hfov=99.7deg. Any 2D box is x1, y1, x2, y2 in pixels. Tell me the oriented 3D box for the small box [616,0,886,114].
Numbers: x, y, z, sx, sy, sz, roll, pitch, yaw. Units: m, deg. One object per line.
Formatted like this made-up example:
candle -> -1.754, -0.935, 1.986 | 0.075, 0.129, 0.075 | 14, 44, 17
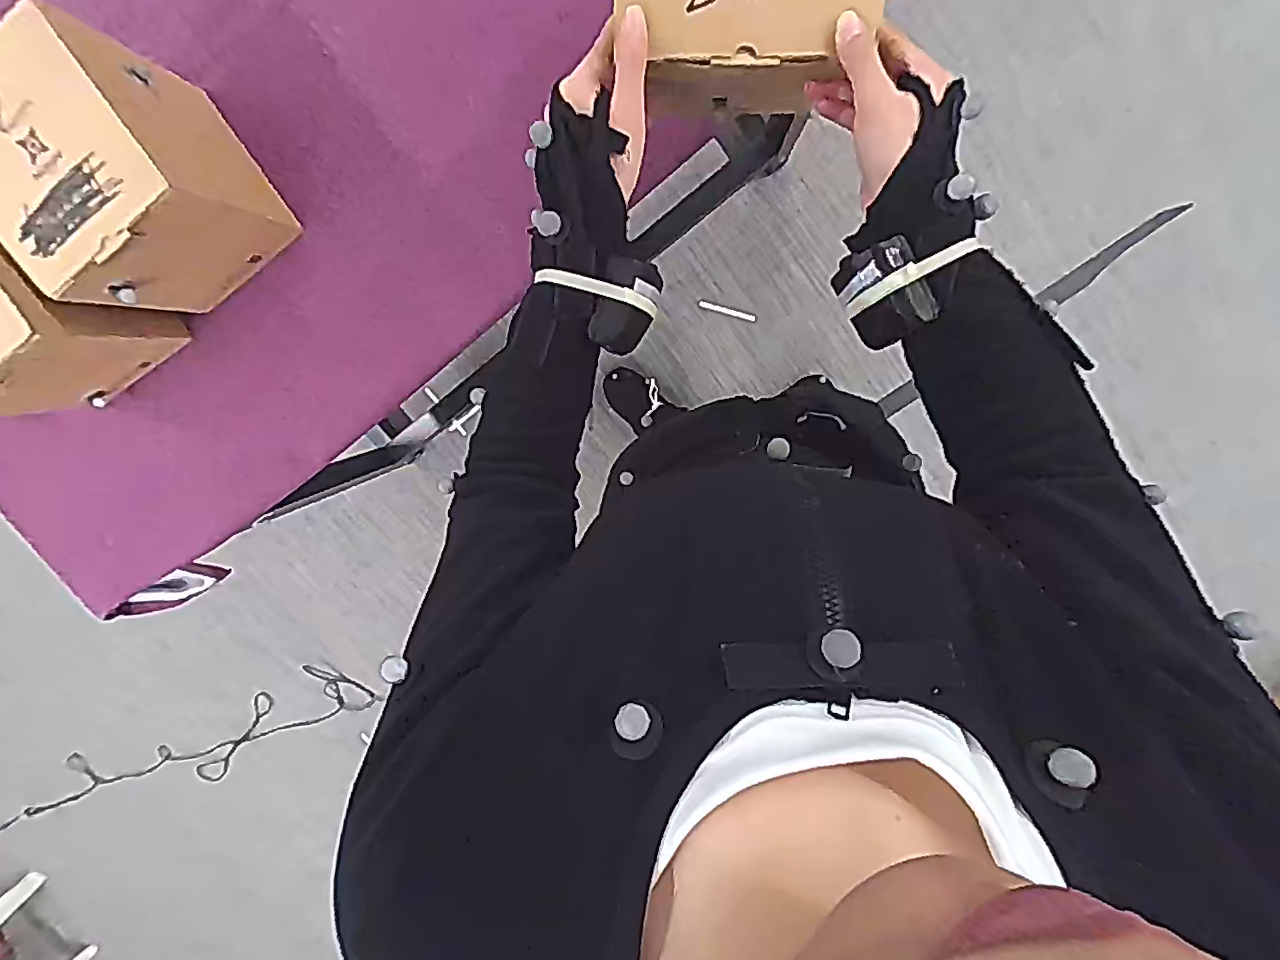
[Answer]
small box -> 0.067, -0.376, 0.374 | 0.168, 0.176, 0.179 | 0, 115, 1
